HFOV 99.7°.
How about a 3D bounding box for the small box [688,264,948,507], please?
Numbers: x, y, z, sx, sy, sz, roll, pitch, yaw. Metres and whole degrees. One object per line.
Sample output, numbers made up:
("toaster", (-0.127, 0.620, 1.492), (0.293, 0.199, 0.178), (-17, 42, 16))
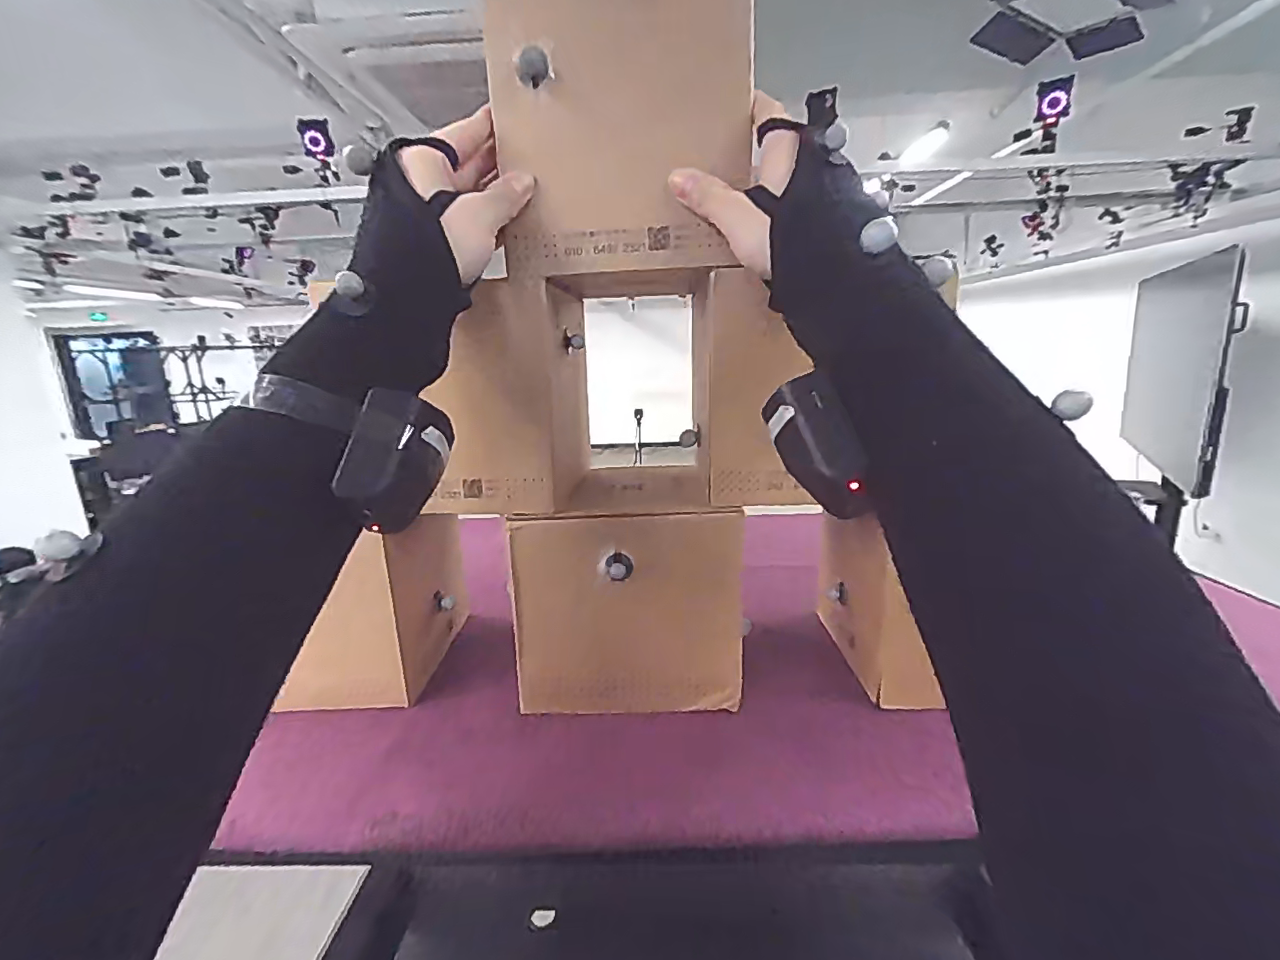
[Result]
("small box", (0.129, -0.076, 0.455), (0.168, 0.176, 0.179), (-2, 14, 2))

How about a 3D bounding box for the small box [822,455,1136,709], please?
("small box", (0.269, 0.080, 0.477), (0.179, 0.176, 0.168), (-3, 13, 3))

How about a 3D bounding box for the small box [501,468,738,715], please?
("small box", (-0.009, 0.090, 0.485), (0.179, 0.176, 0.168), (-2, 13, 2))

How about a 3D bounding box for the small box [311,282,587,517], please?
("small box", (-0.139, -0.069, 0.467), (0.168, 0.176, 0.179), (0, 13, 3))

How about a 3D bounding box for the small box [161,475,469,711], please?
("small box", (-0.277, 0.095, 0.504), (0.179, 0.176, 0.168), (-2, 14, 0))
